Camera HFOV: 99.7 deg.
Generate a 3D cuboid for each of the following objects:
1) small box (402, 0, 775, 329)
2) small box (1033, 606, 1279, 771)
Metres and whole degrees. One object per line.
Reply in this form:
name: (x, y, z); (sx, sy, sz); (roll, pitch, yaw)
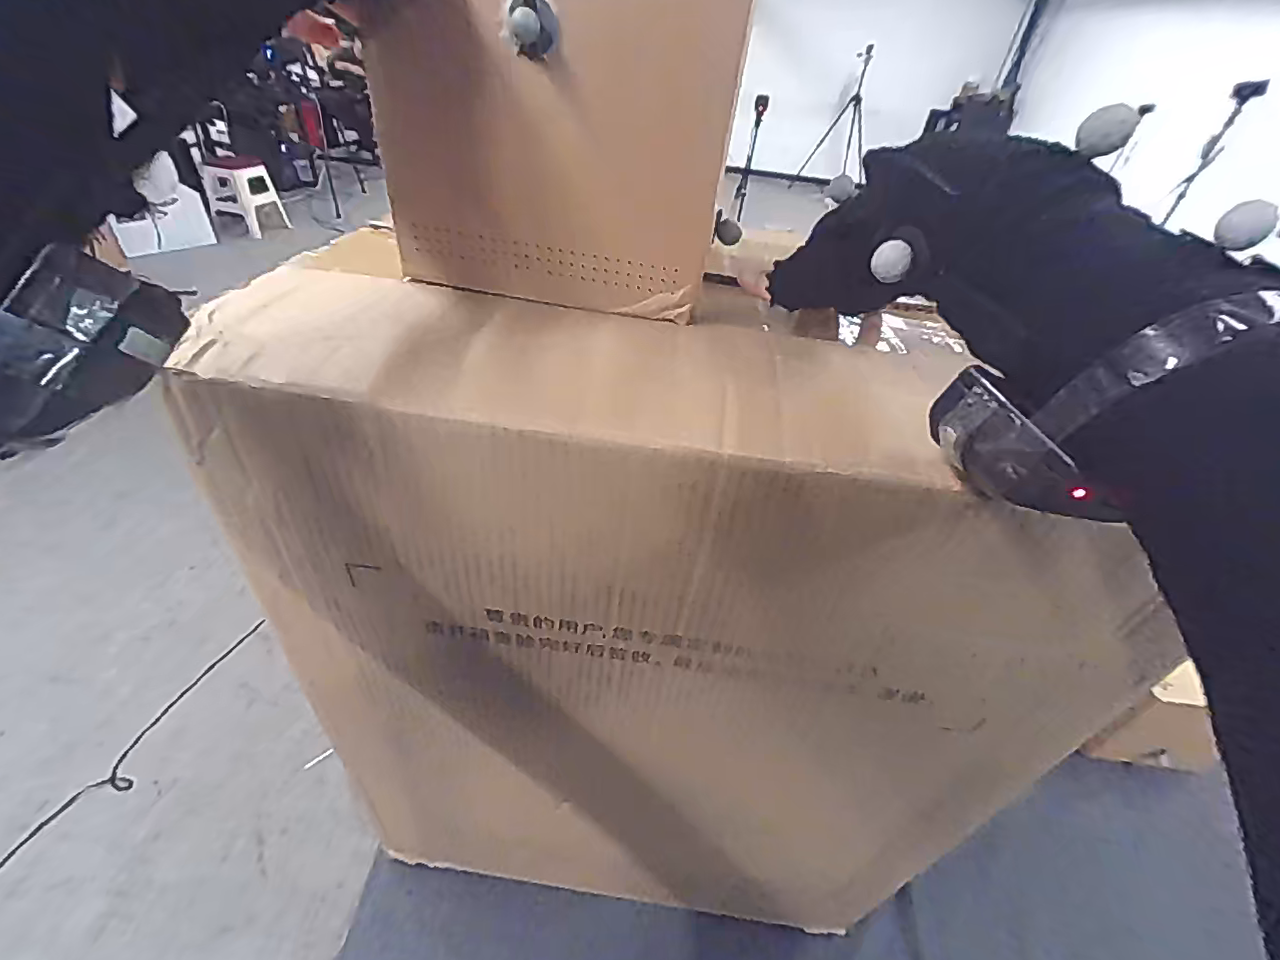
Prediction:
small box: (-0.024, -0.210, 0.331); (0.179, 0.176, 0.168); (12, 42, 2)
small box: (0.763, 0.321, 0.827); (0.179, 0.176, 0.168); (8, 39, 0)
